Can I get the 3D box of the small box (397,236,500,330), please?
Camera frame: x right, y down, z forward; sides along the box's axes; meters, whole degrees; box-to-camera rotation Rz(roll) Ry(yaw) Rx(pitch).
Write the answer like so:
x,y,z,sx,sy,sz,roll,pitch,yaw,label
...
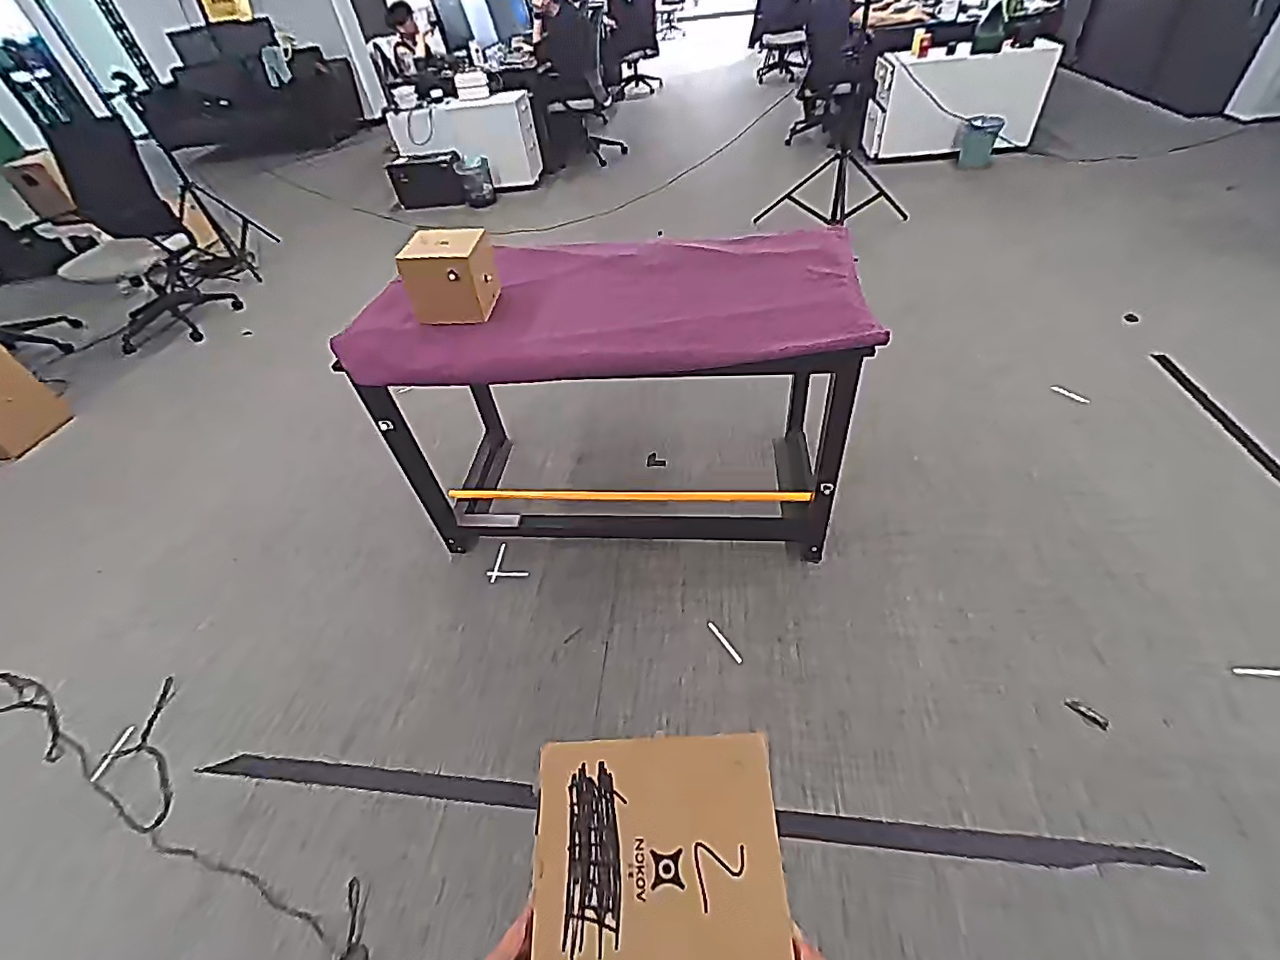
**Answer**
x,y,z,sx,sy,sz,roll,pitch,yaw,label
-0.463,-0.488,1.344,0.179,0.176,0.168,0,44,4,small box
